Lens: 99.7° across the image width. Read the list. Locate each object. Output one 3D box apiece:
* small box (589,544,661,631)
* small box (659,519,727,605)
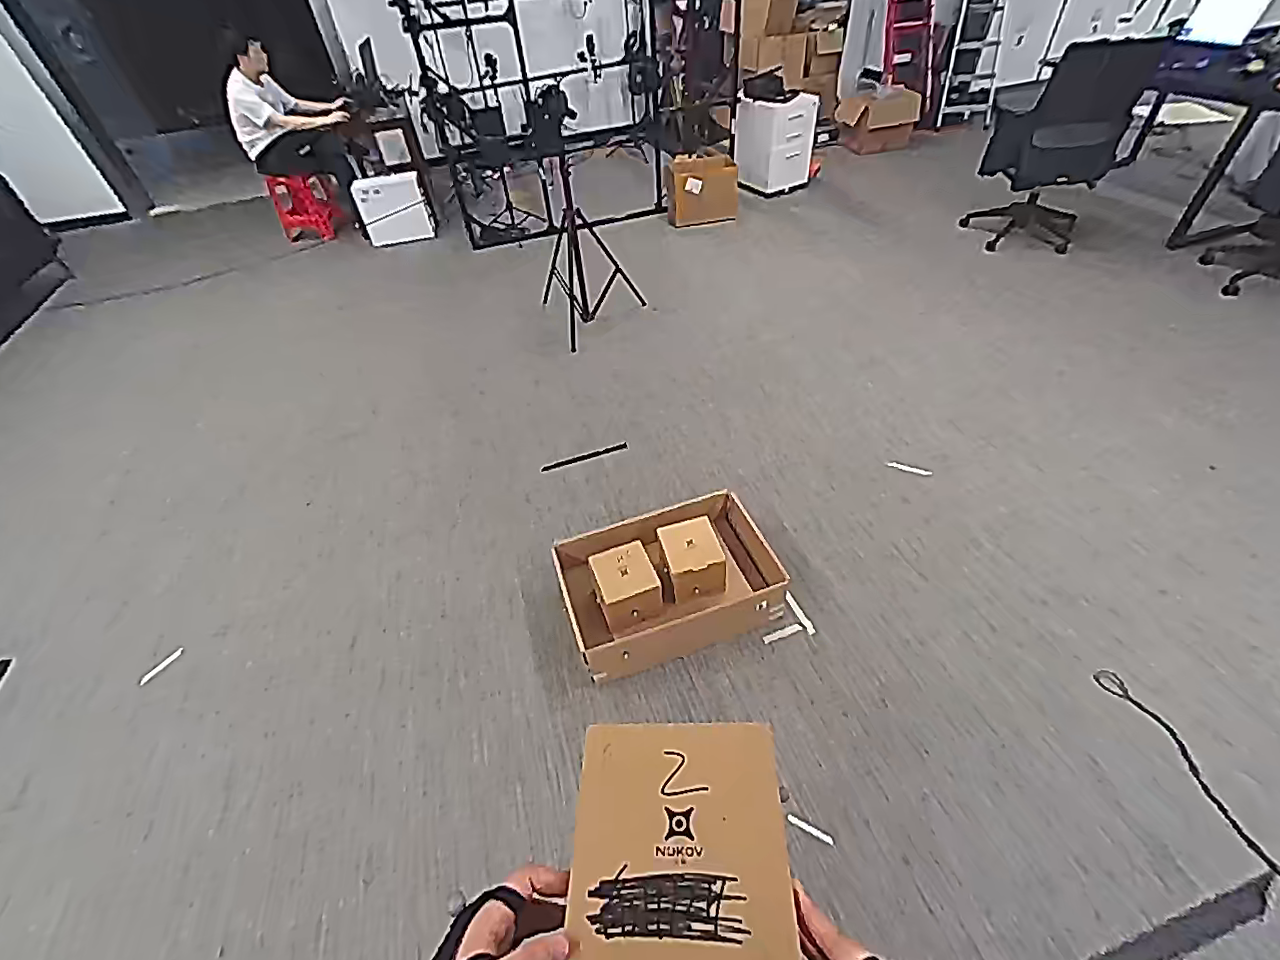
[{"bbox_3d":[-0.040,0.325,1.605,0.168,0.176,0.179,-17,46,-13],"label":"small box"},{"bbox_3d":[0.158,0.253,1.660,0.168,0.176,0.179,-13,46,-7],"label":"small box"}]
